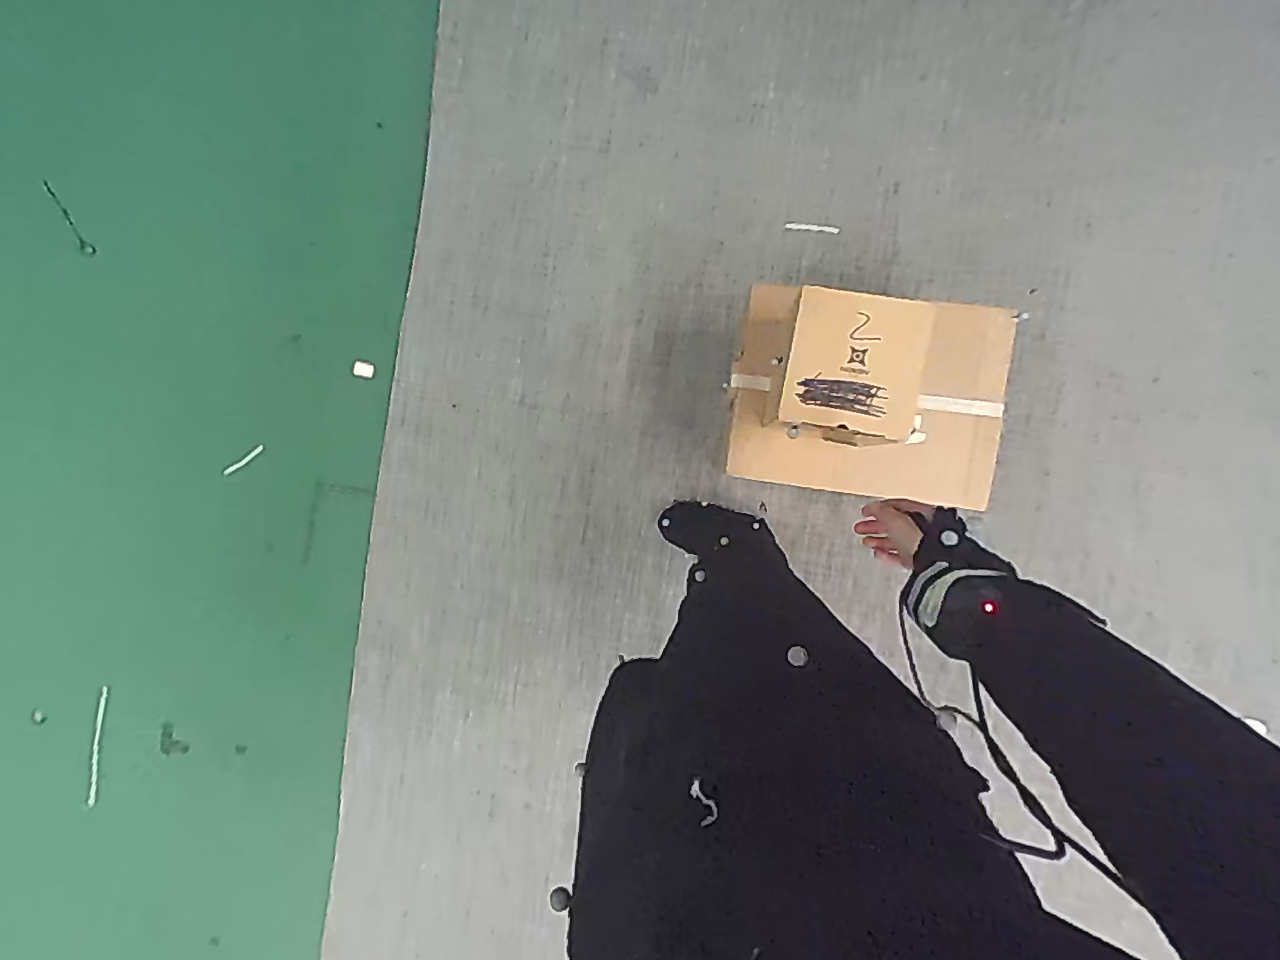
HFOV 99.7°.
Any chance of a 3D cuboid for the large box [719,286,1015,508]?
[{"bbox_3d":[0.367,-0.136,0.989,0.408,0.320,0.320,8,94,5],"label":"large box"}]
